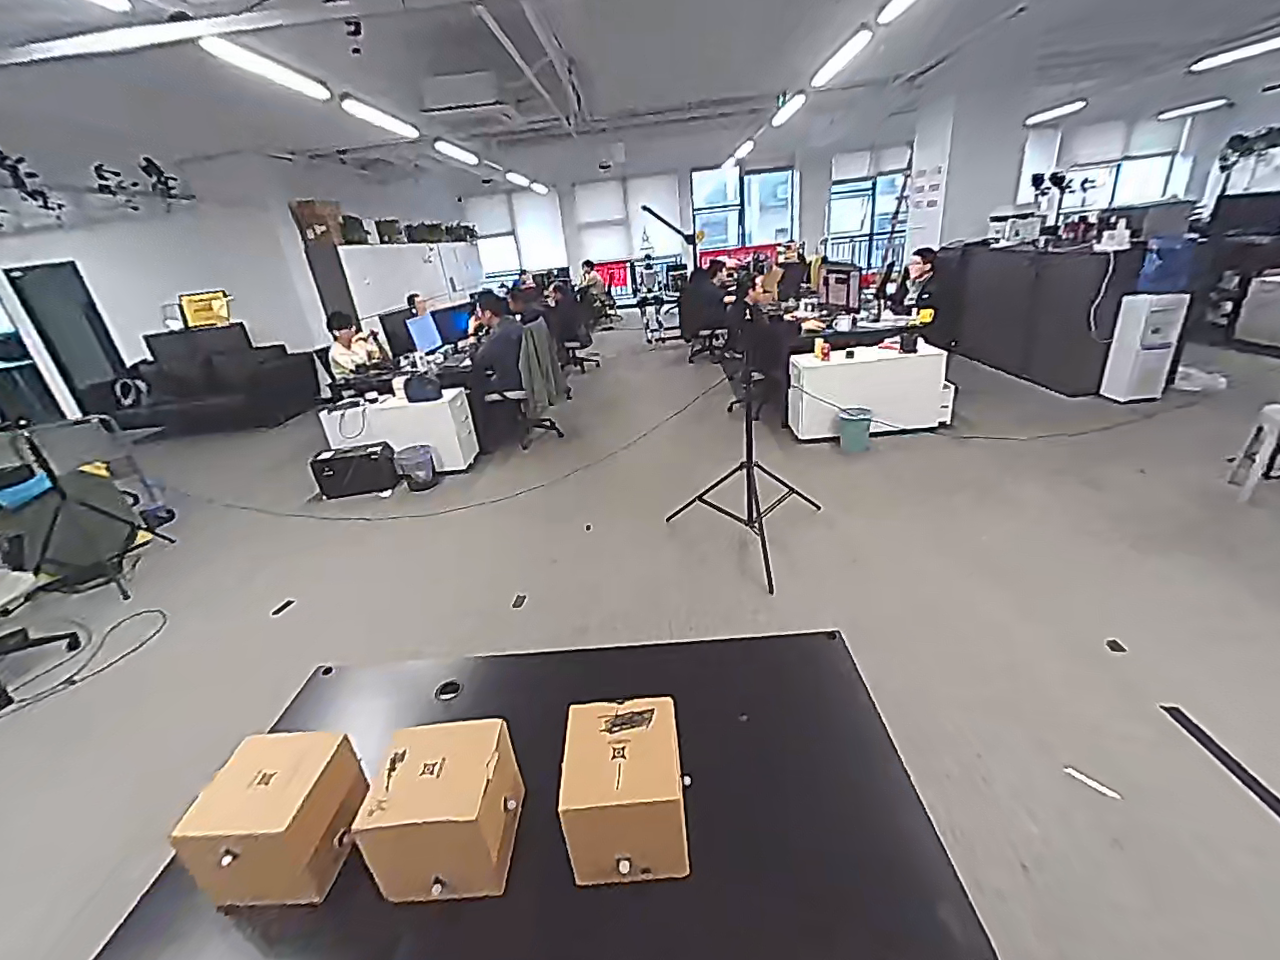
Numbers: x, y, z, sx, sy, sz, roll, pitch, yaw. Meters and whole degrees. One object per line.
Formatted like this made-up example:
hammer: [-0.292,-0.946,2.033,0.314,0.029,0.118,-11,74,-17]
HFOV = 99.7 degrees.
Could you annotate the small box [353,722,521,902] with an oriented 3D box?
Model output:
small box: [-0.288,0.497,0.816,0.179,0.176,0.168,-5,24,1]

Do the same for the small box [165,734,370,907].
small box: [-0.550,0.520,0.830,0.179,0.176,0.168,-4,24,4]

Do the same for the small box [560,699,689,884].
small box: [-0.018,0.464,0.817,0.168,0.176,0.179,-6,24,2]
